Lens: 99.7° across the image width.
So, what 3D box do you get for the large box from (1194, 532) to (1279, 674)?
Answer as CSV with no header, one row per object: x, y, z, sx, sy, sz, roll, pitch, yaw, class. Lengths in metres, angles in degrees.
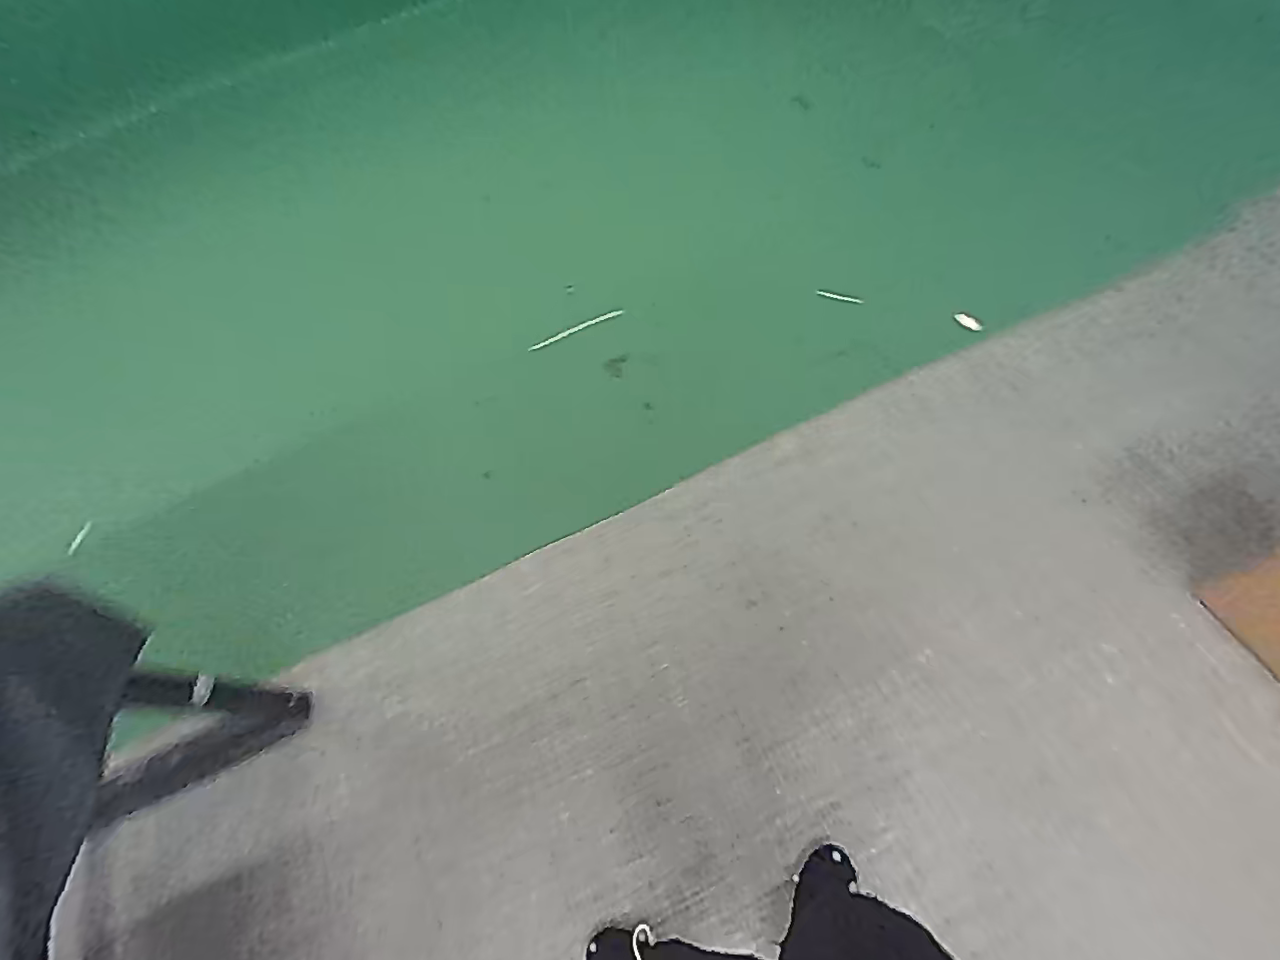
1.402,0.256,0.977,0.320,0.320,0.408,-27,64,-5,large box
